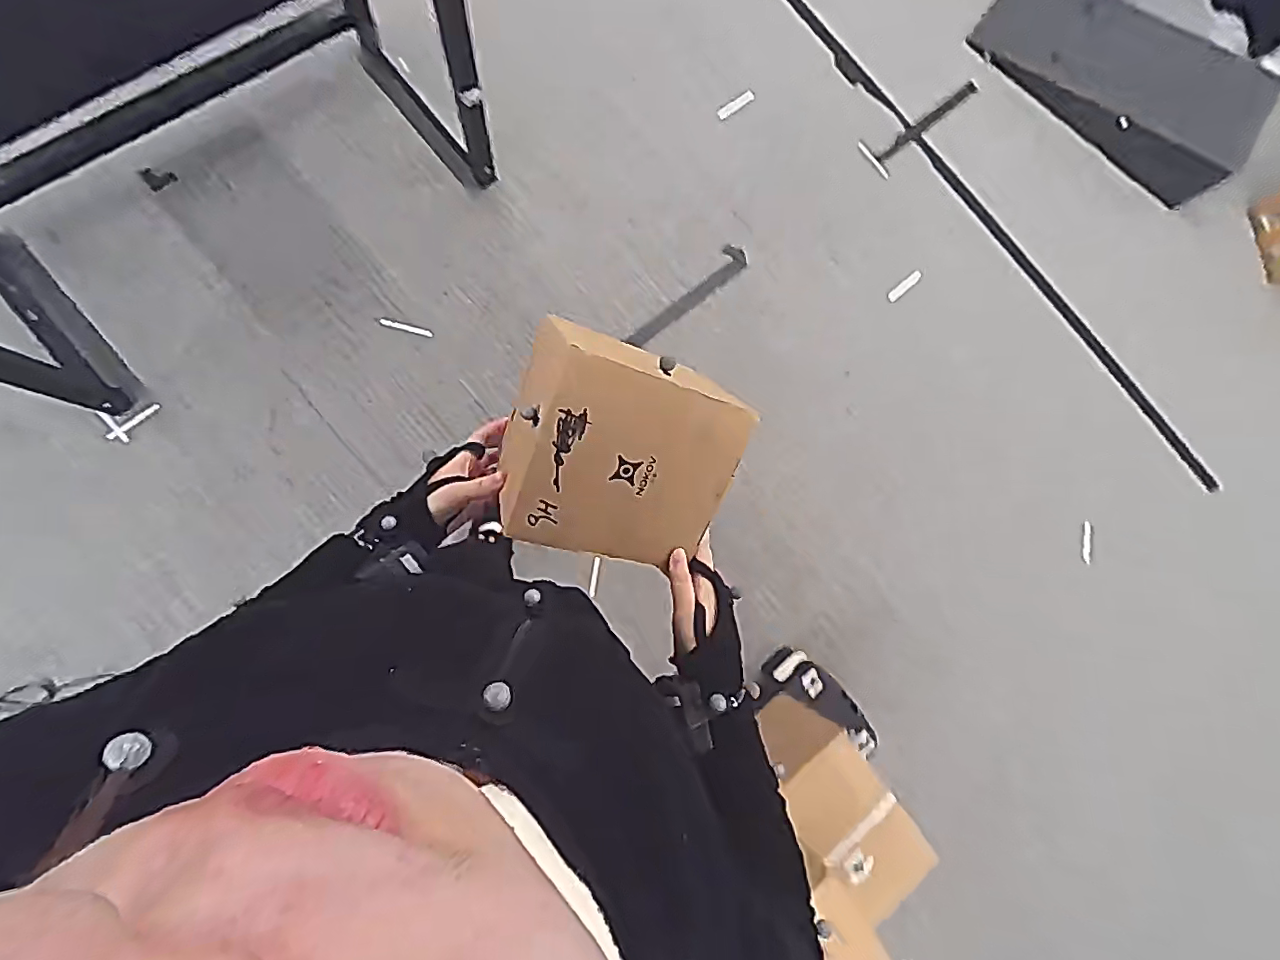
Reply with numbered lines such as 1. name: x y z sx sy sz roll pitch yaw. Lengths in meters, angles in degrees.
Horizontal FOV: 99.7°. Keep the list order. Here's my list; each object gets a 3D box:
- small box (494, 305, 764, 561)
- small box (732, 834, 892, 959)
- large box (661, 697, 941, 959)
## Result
1. small box: -0.025 -0.050 0.500 0.179 0.176 0.168 15 108 -23
2. small box: 0.269 0.736 0.882 0.179 0.176 0.168 -33 88 -12
3. large box: 0.310 0.741 1.138 0.408 0.320 0.320 -36 89 -12
